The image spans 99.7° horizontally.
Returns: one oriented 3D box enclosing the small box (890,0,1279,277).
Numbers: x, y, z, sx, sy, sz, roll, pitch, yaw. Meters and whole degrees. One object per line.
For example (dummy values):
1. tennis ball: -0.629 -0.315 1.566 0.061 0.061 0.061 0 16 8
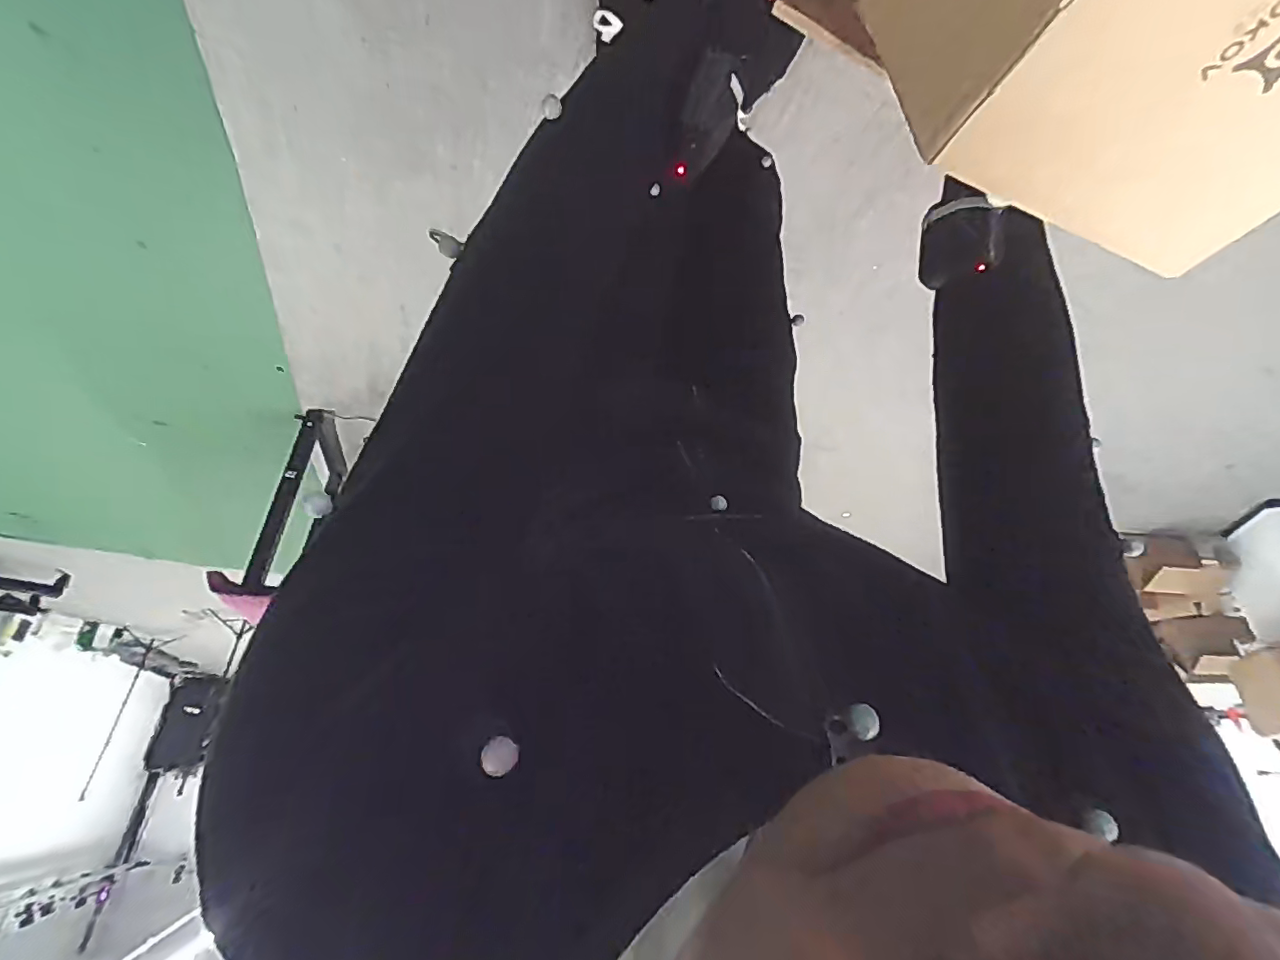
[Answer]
1. small box: 0.248 -0.232 0.241 0.179 0.176 0.168 12 150 -18
